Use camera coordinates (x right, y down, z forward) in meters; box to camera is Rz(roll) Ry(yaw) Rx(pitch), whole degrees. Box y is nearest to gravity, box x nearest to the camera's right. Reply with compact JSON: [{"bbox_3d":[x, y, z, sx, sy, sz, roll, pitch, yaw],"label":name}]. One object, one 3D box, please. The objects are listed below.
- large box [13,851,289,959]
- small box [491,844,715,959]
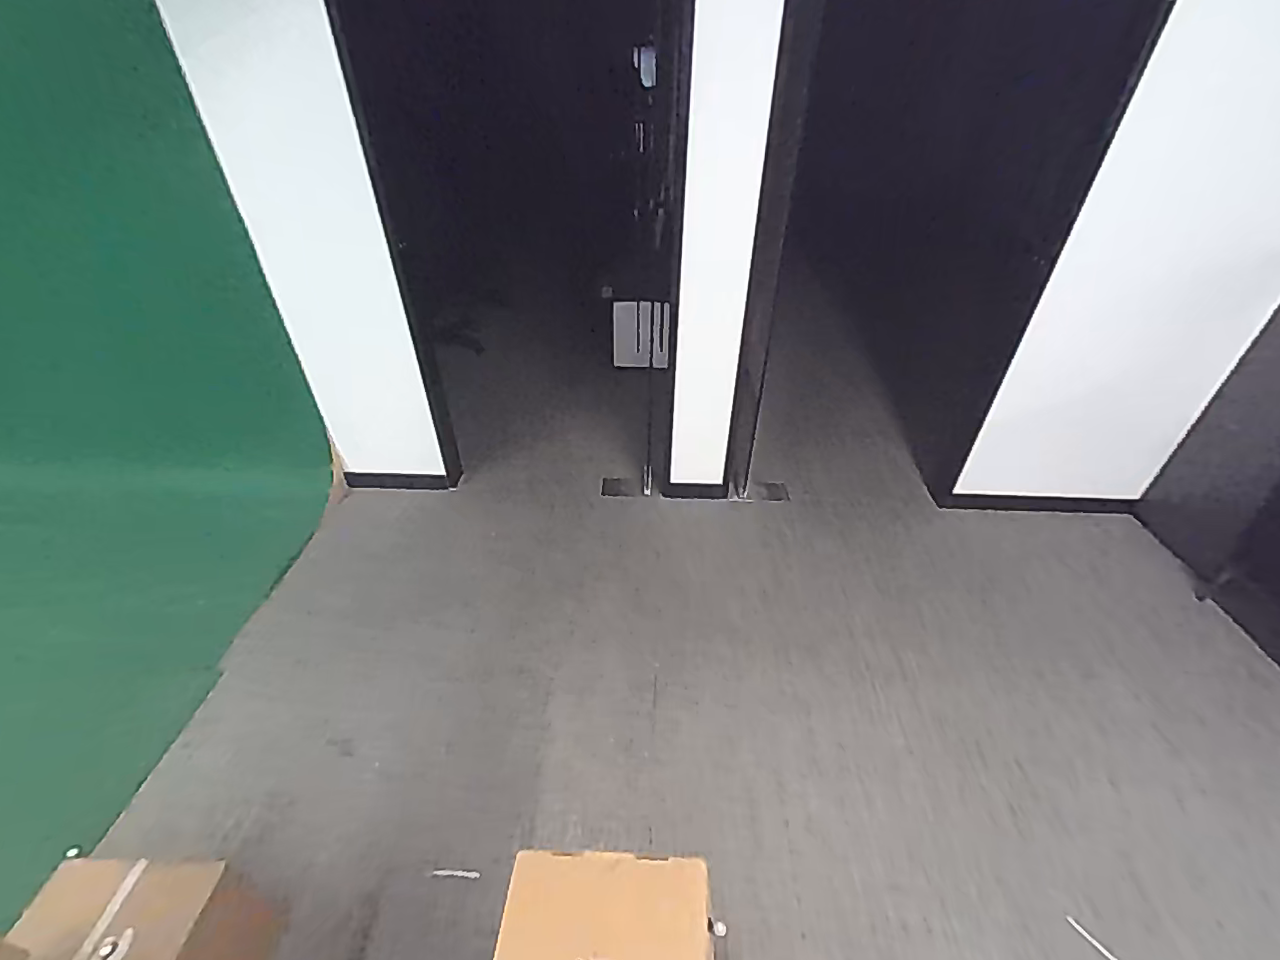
[{"bbox_3d":[-0.929,0.950,0.959,0.320,0.320,0.408,1,36,1],"label":"large box"},{"bbox_3d":[-0.023,0.430,0.442,0.168,0.176,0.179,-2,38,8],"label":"small box"}]
